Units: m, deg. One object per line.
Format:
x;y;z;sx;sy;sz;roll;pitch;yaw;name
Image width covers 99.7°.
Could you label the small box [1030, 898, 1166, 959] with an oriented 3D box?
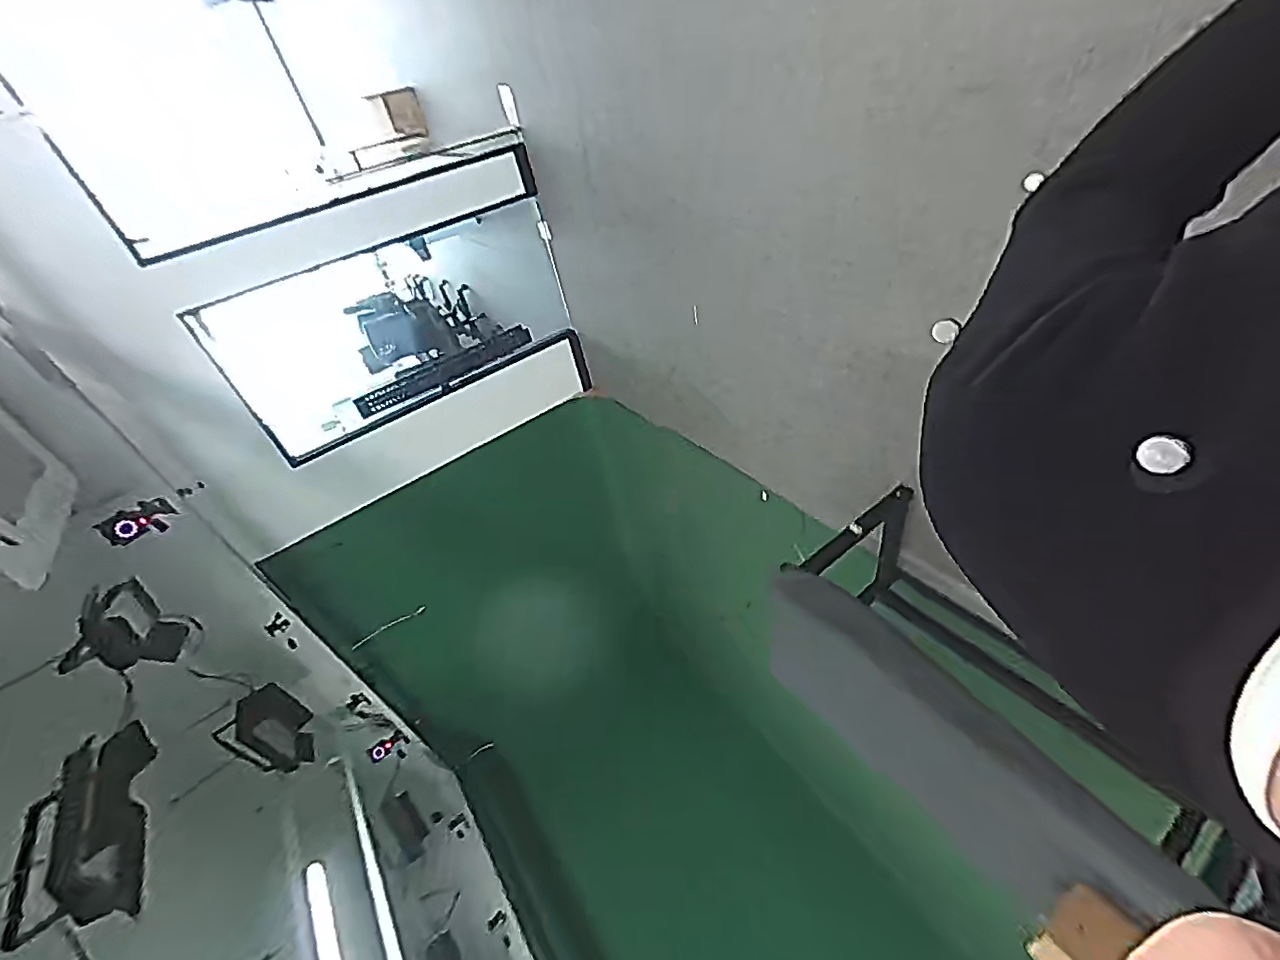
1.068;1.118;1.258;0.179;0.176;0.168;40;154;41;small box
